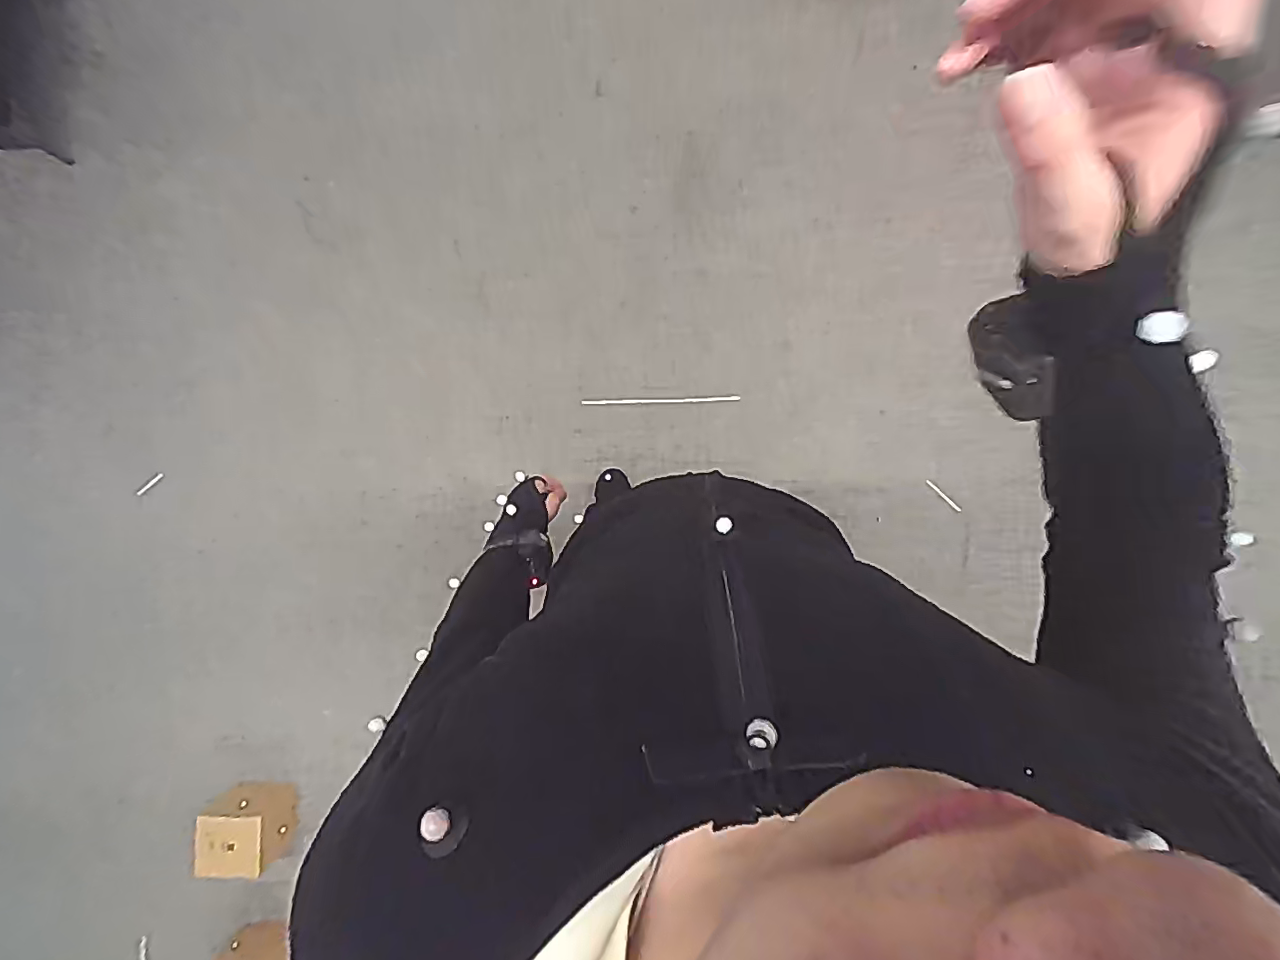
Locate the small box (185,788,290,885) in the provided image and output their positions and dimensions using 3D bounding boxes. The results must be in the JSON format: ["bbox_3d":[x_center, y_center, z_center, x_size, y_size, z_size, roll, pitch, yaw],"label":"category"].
[{"bbox_3d":[-1.118,0.992,1.515,0.179,0.176,0.168,2,89,-1],"label":"small box"}]

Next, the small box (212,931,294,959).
[{"bbox_3d":[-1.107,1.411,1.513,0.179,0.176,0.168,-2,90,-1],"label":"small box"}]
